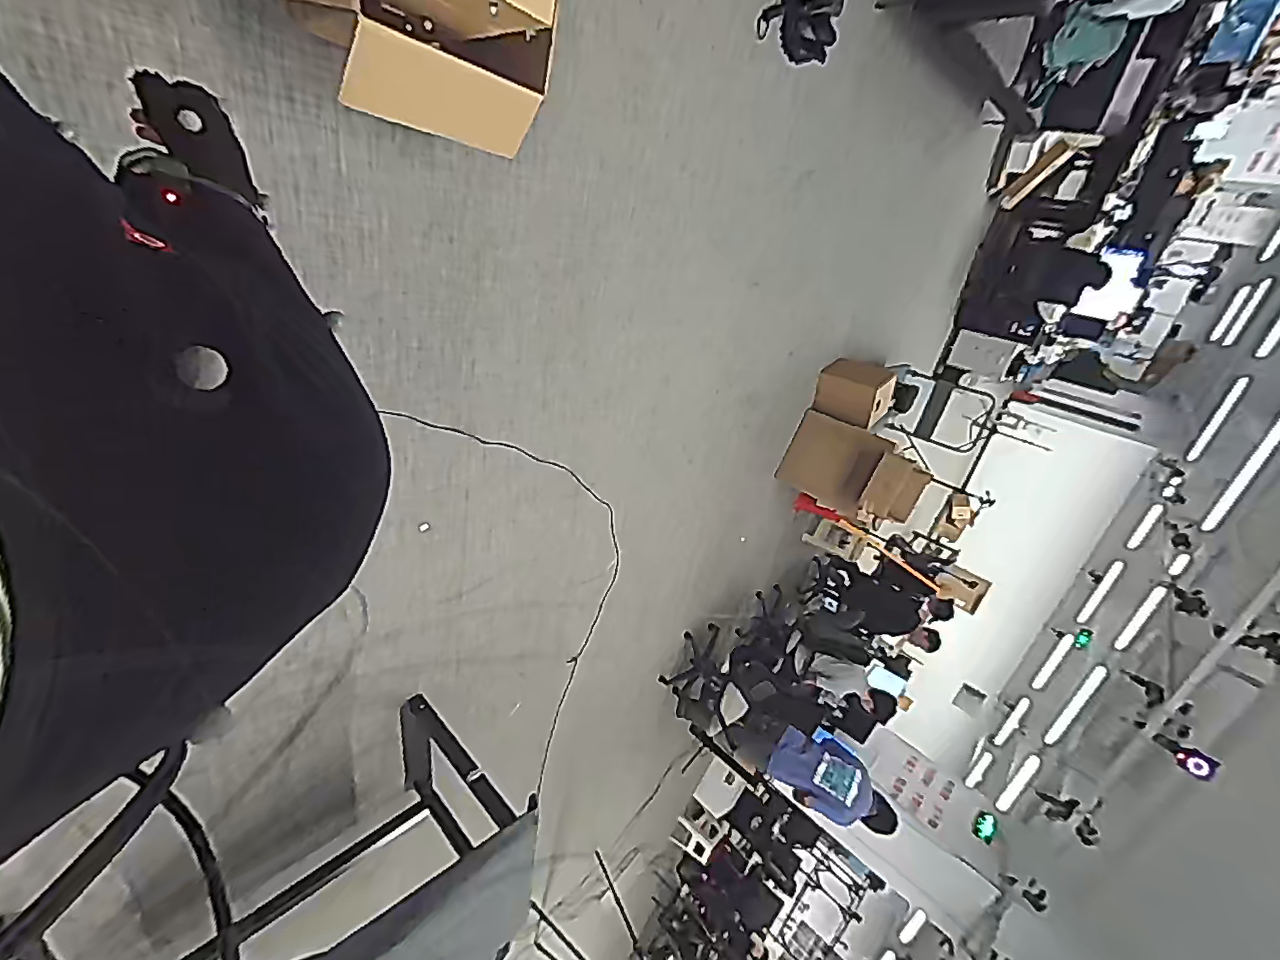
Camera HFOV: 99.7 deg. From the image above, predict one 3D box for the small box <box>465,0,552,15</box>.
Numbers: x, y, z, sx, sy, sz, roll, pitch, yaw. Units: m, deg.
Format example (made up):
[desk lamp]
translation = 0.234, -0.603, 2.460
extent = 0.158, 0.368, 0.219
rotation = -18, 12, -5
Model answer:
[small box]
translation = -0.253, -0.903, 0.893
extent = 0.179, 0.176, 0.168
rotation = -13, 126, -46
